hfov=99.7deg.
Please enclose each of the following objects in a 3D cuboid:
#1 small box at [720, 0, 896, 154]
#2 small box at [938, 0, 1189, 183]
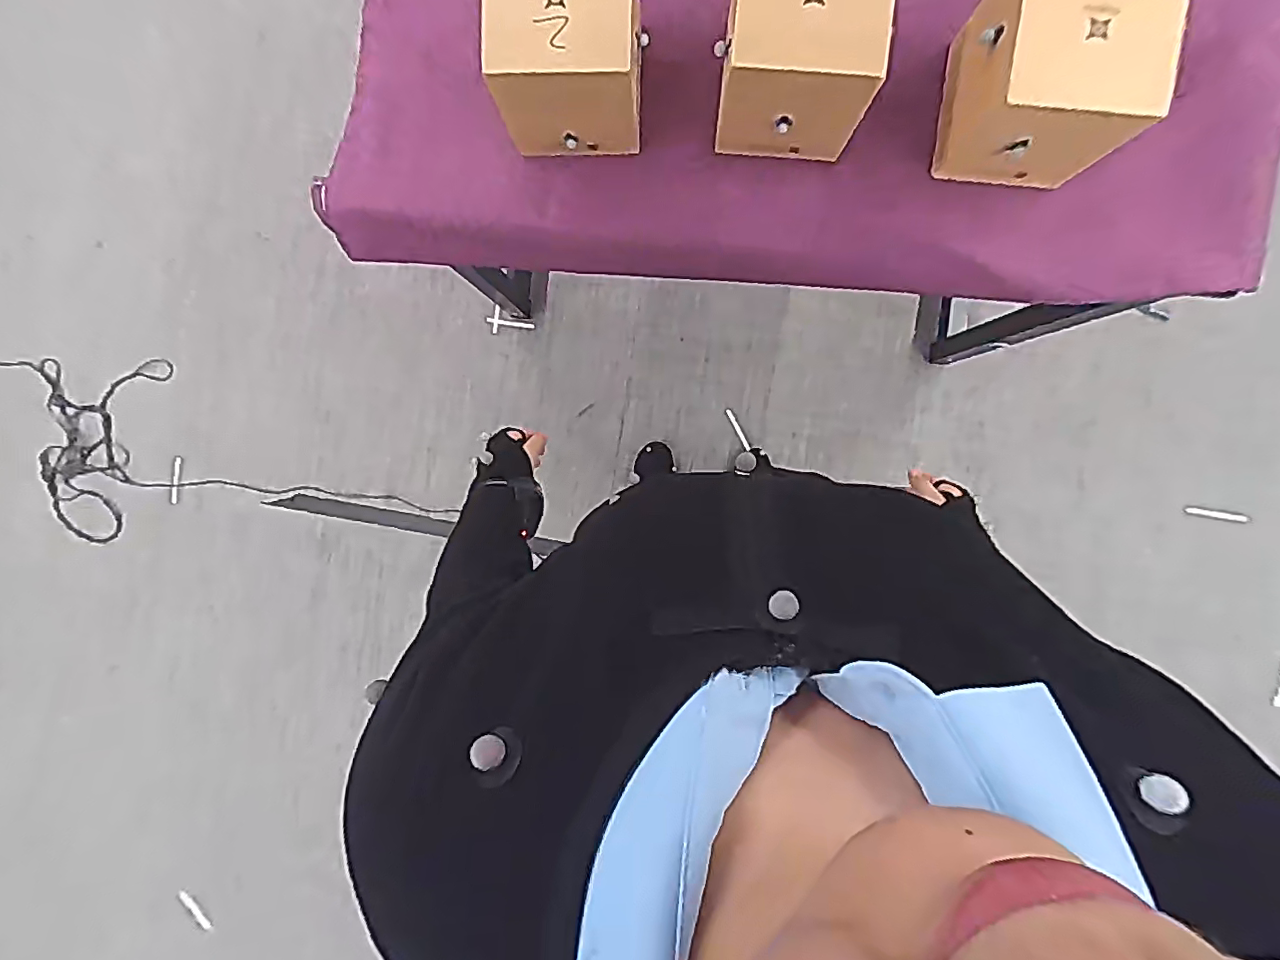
[{"bbox_3d":[0.192,-0.524,0.647,0.168,0.176,0.179,6,92,1],"label":"small box"},{"bbox_3d":[0.480,-0.479,0.637,0.168,0.176,0.179,7,94,3],"label":"small box"}]
